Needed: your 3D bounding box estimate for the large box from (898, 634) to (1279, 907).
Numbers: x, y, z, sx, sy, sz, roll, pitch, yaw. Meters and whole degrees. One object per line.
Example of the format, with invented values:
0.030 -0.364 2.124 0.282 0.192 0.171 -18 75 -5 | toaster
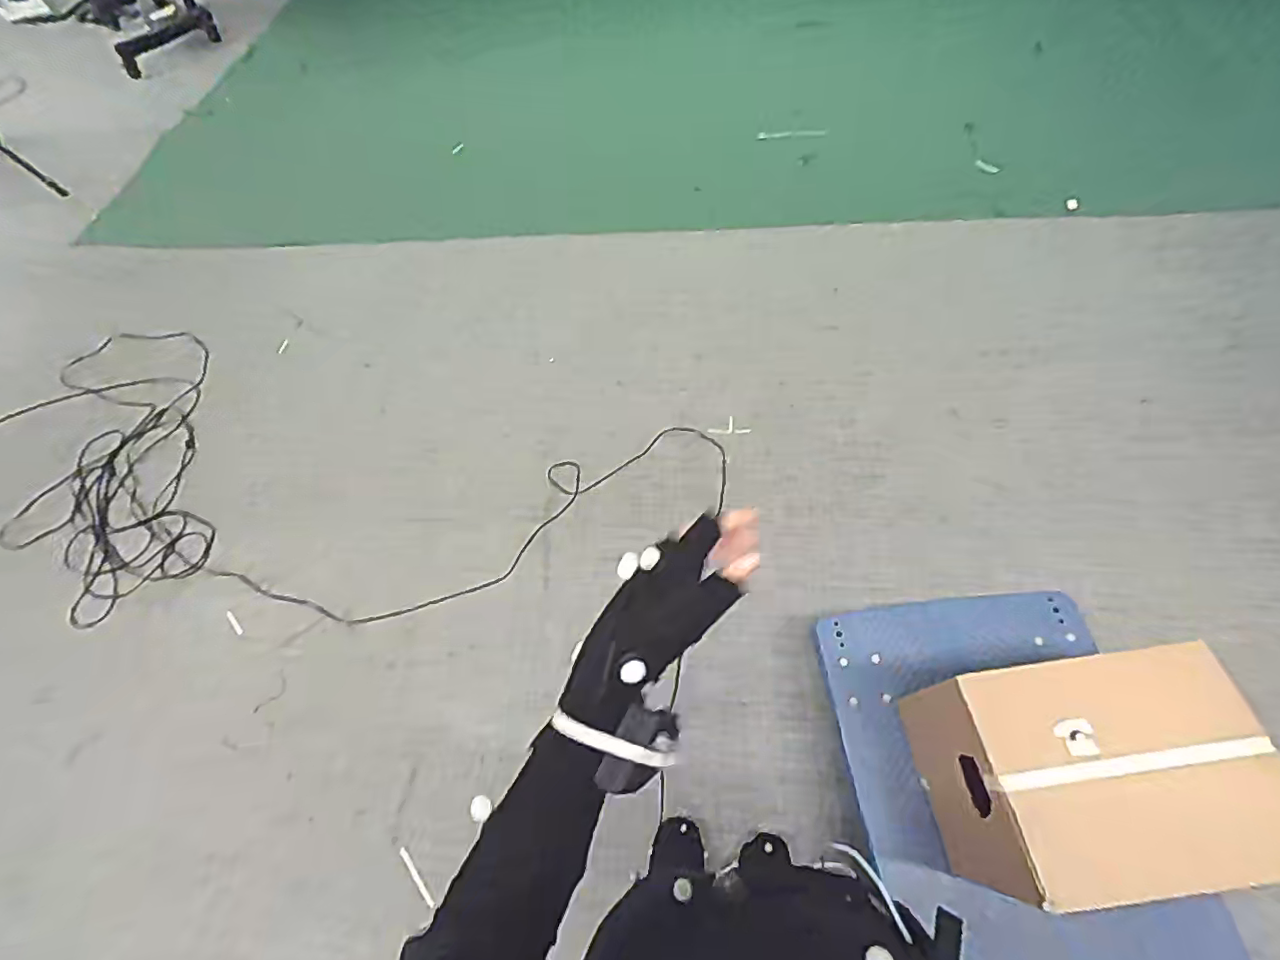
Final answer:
0.744 0.489 0.941 0.408 0.320 0.320 -10 60 1 | large box
